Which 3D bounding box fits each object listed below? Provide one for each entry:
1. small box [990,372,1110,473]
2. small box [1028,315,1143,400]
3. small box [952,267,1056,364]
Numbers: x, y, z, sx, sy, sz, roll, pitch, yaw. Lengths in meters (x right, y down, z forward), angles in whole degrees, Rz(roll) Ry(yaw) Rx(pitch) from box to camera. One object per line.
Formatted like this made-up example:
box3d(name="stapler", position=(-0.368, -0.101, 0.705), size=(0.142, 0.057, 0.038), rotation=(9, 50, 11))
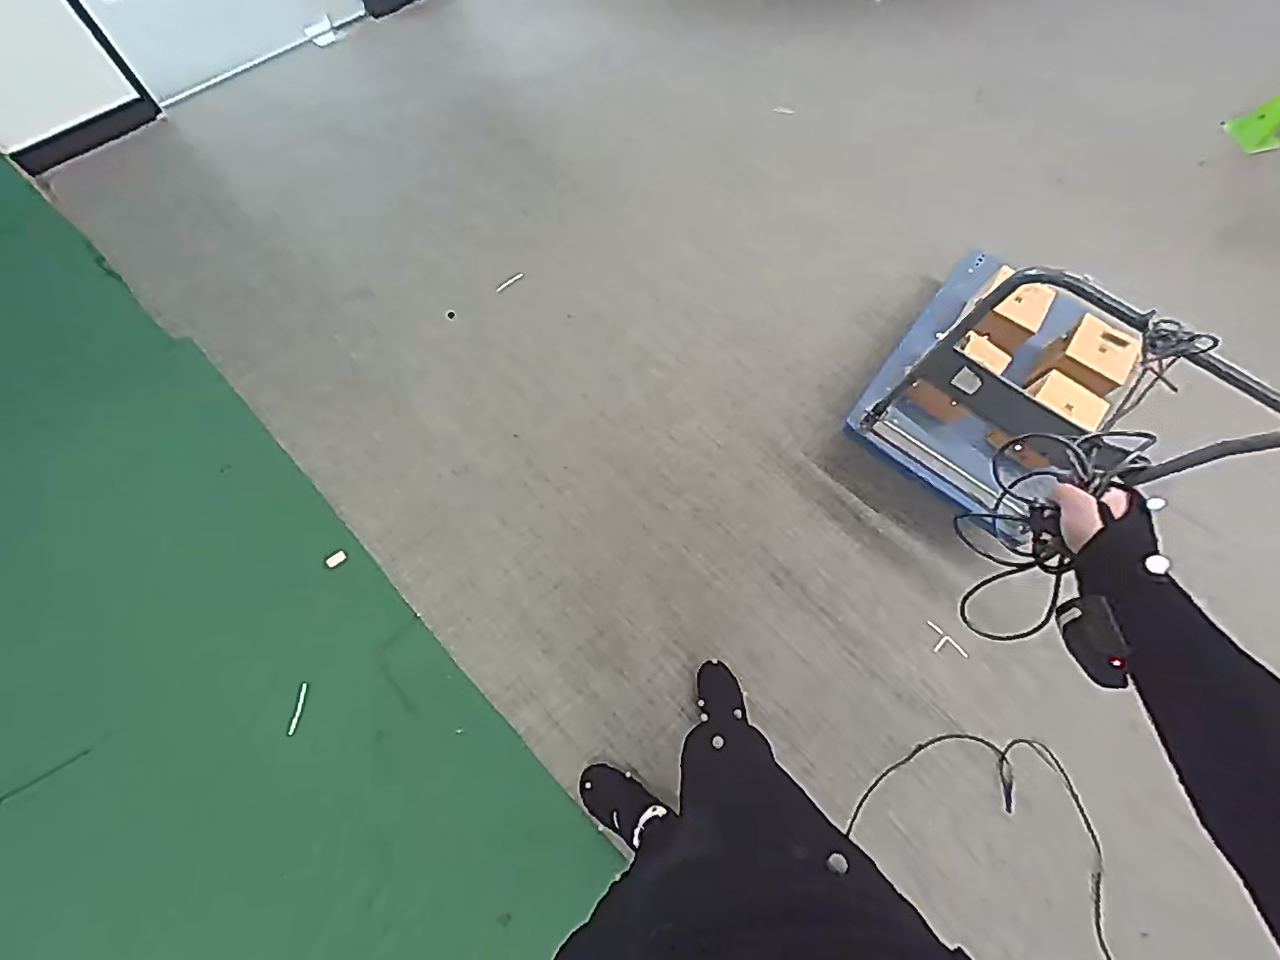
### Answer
box3d(name="small box", position=(1.103, -0.151, 1.469), size=(0.168, 0.176, 0.179), rotation=(39, 72, 11))
box3d(name="small box", position=(1.260, -0.325, 1.543), size=(0.168, 0.176, 0.179), rotation=(35, 72, 11))
box3d(name="small box", position=(1.058, -0.477, 1.590), size=(0.168, 0.176, 0.179), rotation=(34, 71, 9))
